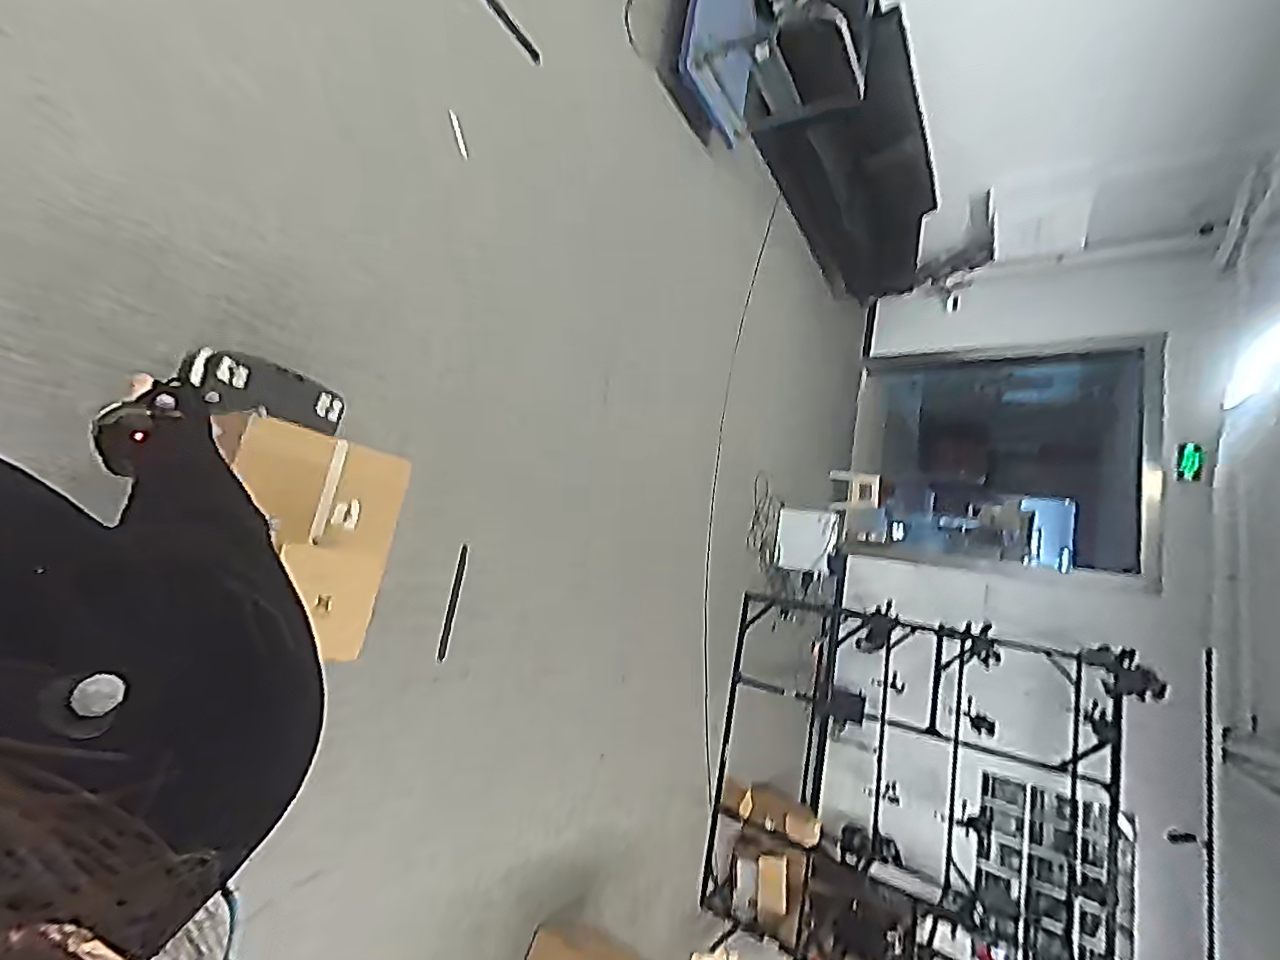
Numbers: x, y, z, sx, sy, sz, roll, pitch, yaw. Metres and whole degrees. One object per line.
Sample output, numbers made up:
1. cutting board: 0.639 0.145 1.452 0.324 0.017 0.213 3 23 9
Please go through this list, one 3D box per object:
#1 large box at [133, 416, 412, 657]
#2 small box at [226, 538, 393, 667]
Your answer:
1. large box: -0.720 0.118 1.079 0.320 0.320 0.408 25 71 -53
2. small box: -0.550 0.202 0.899 0.168 0.176 0.179 26 71 -52
